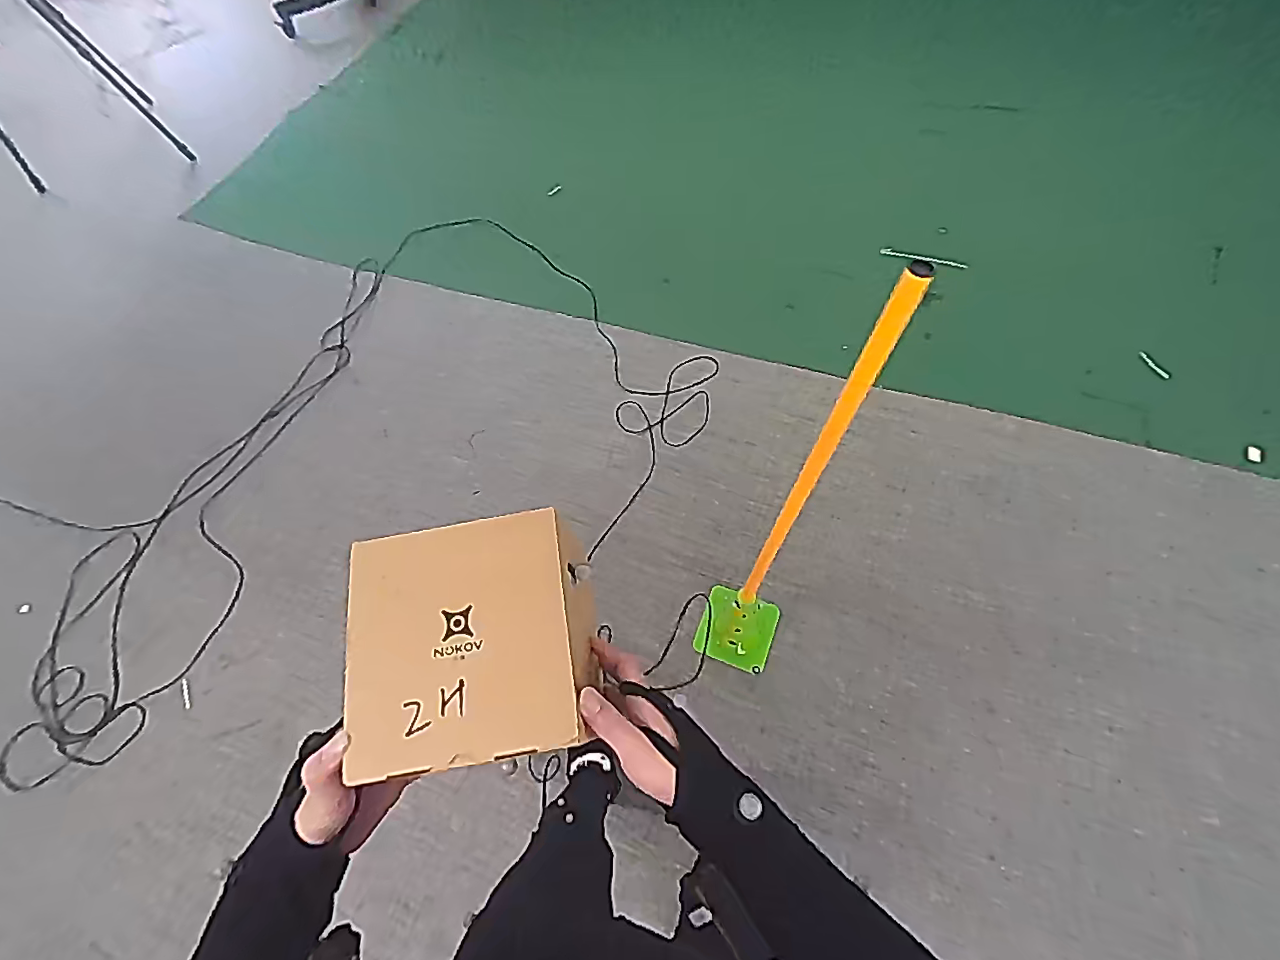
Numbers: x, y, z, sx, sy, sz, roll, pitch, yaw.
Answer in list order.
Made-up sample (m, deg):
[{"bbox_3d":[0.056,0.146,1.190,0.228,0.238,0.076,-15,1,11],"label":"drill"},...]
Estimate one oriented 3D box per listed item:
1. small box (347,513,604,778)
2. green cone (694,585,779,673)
[{"bbox_3d":[-0.129,0.147,0.481,0.168,0.176,0.179,-10,68,0],"label":"small box"},{"bbox_3d":[0.252,0.333,1.364,0.202,0.368,0.200,18,66,15],"label":"green cone"}]
